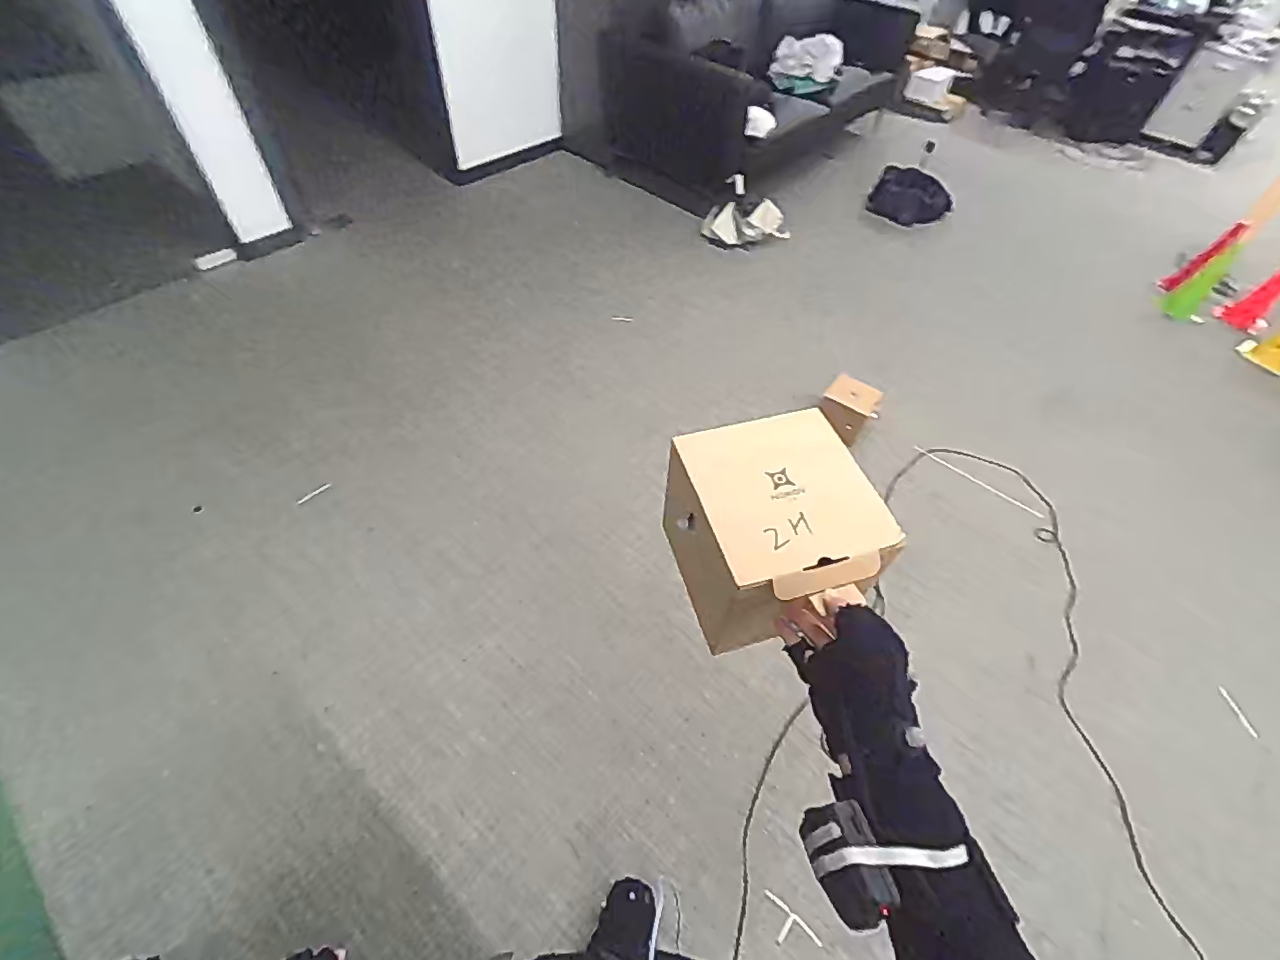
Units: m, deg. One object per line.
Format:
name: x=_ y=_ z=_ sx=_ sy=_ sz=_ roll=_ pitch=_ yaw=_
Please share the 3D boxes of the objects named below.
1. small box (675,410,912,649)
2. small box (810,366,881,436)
small box: x=0.141 y=0.055 z=0.578 sx=0.168 sy=0.176 sz=0.179 roll=-12 pitch=55 yaw=-10
small box: x=0.763 y=-0.288 z=2.027 sx=0.179 sy=0.176 sz=0.168 roll=31 pitch=56 yaw=19
